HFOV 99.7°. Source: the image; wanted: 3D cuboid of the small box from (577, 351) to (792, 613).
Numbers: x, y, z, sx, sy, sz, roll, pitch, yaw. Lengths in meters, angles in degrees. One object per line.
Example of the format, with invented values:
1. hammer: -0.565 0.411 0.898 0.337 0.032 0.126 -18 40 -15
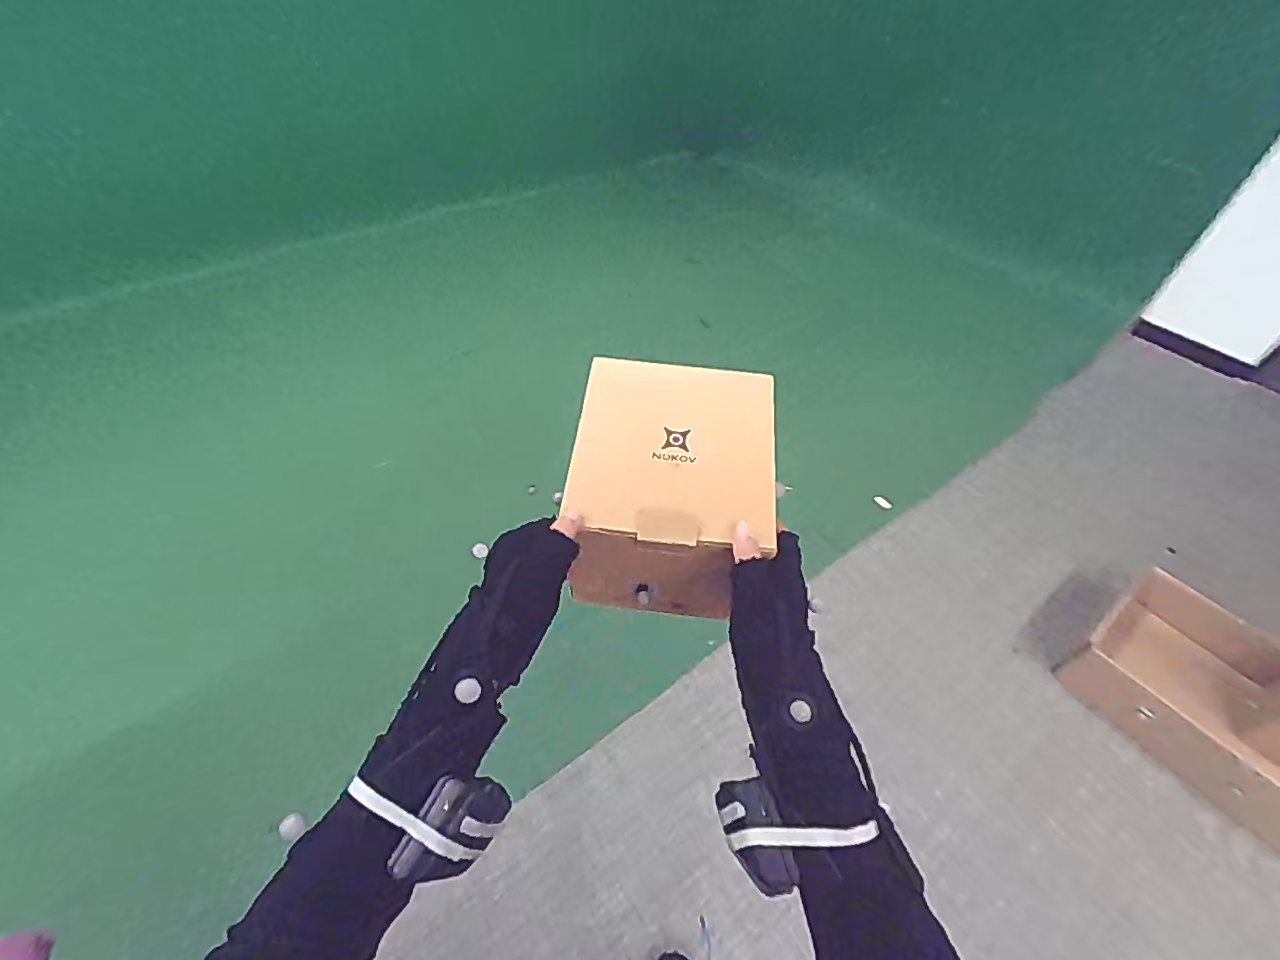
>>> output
1. small box: 0.038 0.008 0.512 0.168 0.176 0.179 8 60 1

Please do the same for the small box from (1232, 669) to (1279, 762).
1. small box: 1.596 0.581 1.298 0.179 0.176 0.168 -34 56 -27
